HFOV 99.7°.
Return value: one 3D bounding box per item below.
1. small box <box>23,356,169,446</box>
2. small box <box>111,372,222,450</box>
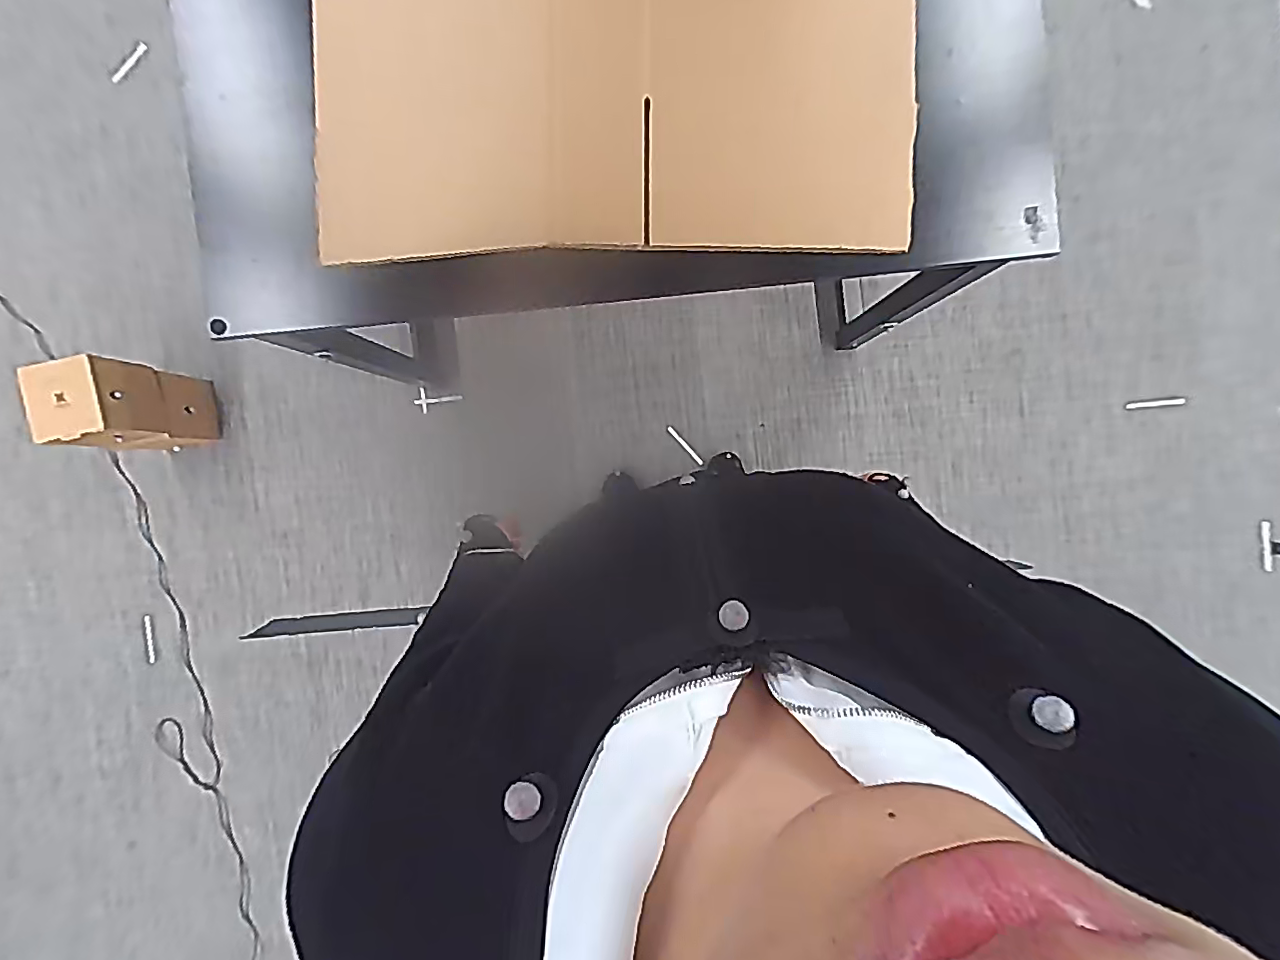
[{"bbox_3d":[-1.278,-0.180,1.284,0.168,0.176,0.179,-12,91,1],"label":"small box"},{"bbox_3d":[-1.273,-0.179,1.447,0.168,0.176,0.179,-10,92,2],"label":"small box"}]
